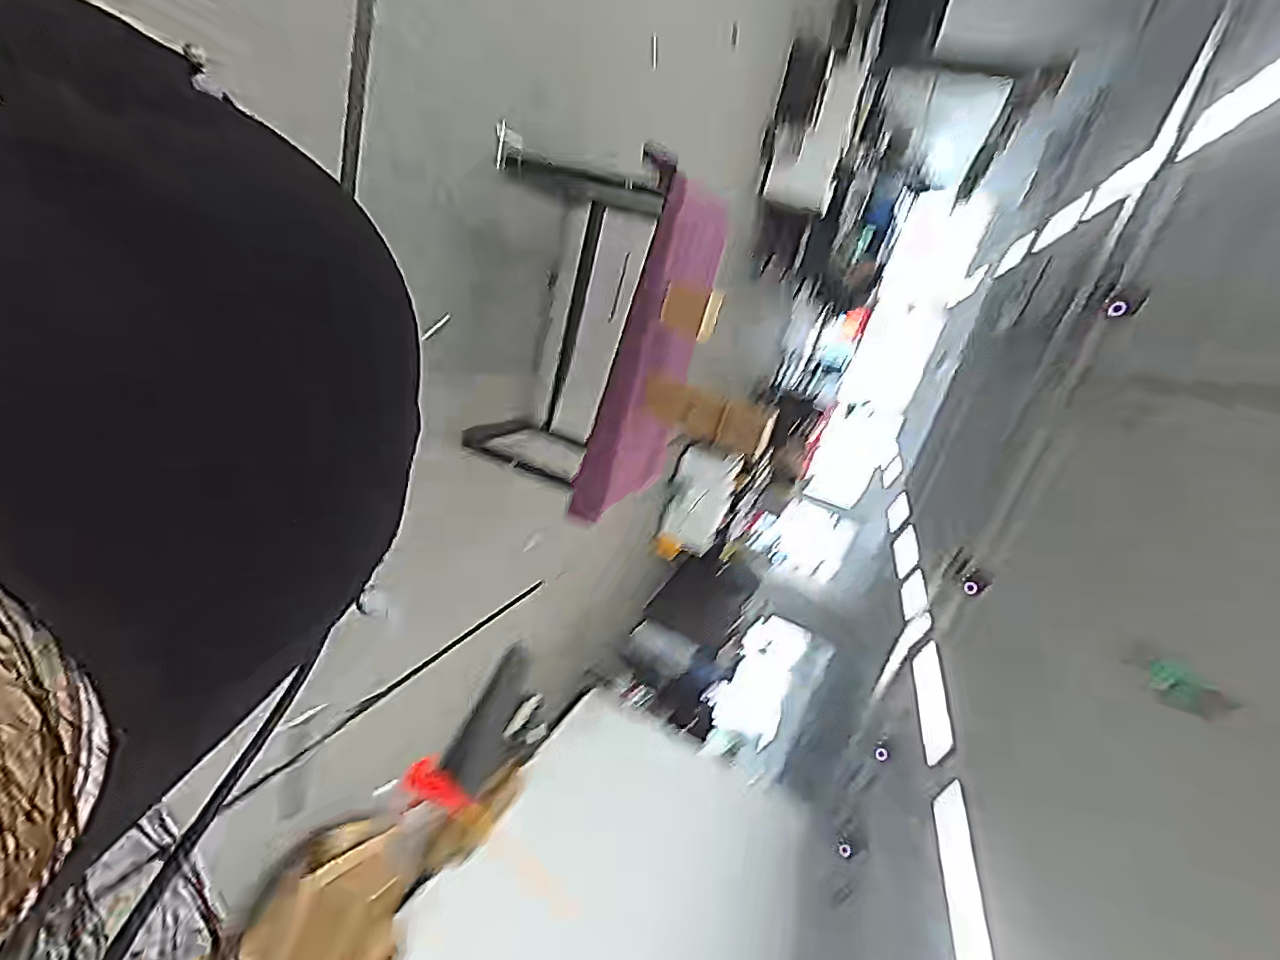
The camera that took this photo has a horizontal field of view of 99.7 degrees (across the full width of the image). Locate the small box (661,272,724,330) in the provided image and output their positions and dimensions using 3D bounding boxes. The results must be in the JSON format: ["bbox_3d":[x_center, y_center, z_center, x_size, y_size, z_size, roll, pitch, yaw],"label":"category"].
[{"bbox_3d":[0.193,-0.661,2.002,0.179,0.176,0.168,-30,138,-65],"label":"small box"}]

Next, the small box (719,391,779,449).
[{"bbox_3d":[0.410,-0.229,2.045,0.179,0.176,0.168,-31,139,-64],"label":"small box"}]

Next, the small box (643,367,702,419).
[{"bbox_3d":[0.127,-0.349,2.158,0.179,0.176,0.168,-25,134,-66],"label":"small box"}]

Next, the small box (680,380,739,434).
[{"bbox_3d":[0.274,-0.291,2.113,0.179,0.176,0.168,-24,132,-65],"label":"small box"}]
